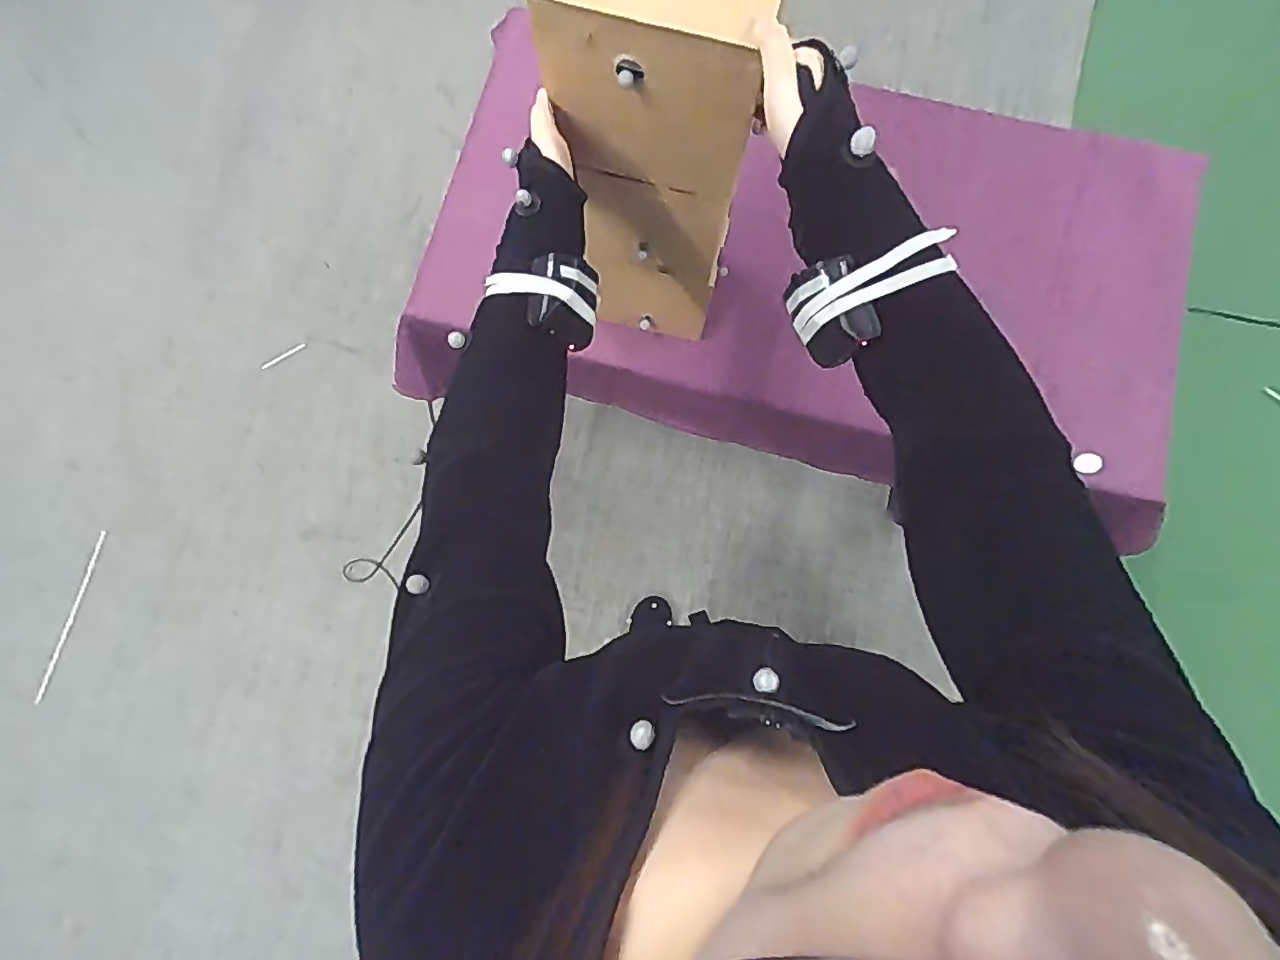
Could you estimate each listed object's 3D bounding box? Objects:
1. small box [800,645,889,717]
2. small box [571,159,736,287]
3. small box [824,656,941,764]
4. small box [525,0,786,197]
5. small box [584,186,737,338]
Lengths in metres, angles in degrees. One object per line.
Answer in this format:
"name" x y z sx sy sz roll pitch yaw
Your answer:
"small box" 0.532 0.533 1.388 0.179 0.176 0.168 19 81 2
"small box" 0.029 -0.361 0.633 0.168 0.176 0.179 15 81 3
"small box" 0.540 0.509 1.227 0.179 0.176 0.168 16 82 2
"small box" 0.024 -0.376 0.459 0.179 0.176 0.168 15 85 2
"small box" 0.027 -0.328 0.795 0.179 0.176 0.168 13 80 2
